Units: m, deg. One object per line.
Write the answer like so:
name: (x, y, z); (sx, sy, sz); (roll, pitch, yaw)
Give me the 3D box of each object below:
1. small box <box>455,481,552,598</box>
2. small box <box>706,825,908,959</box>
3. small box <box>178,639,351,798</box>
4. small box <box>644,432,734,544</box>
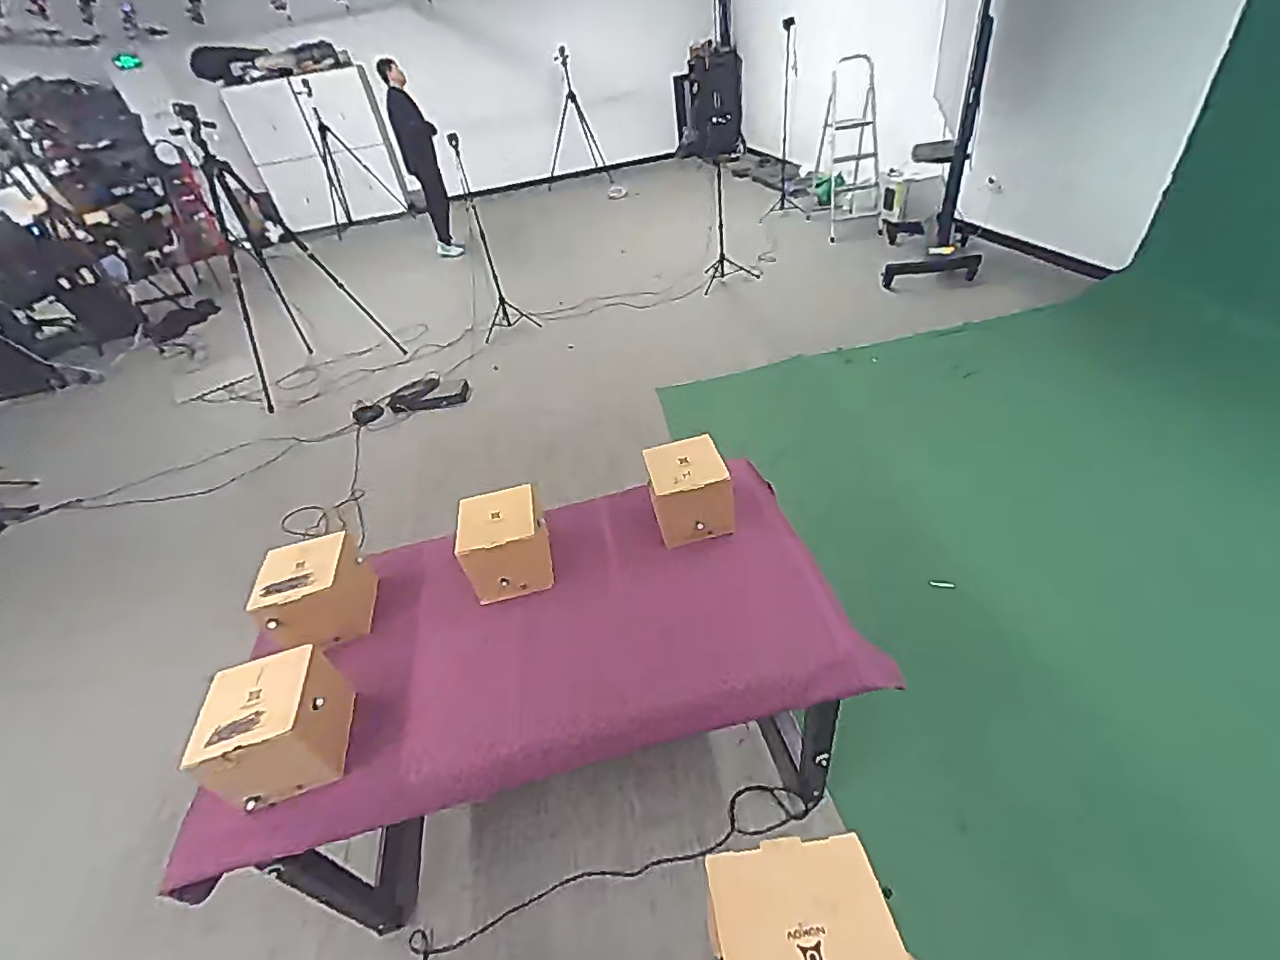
small box: (-0.299, 0.132, 1.206); (0.168, 0.176, 0.179); (-13, 41, -4)
small box: (0.161, 0.488, 0.540); (0.168, 0.176, 0.179); (-8, 33, -2)
small box: (-0.623, 0.413, 0.927); (0.168, 0.176, 0.179); (-16, 38, -8)
small box: (0.112, 0.018, 1.253); (0.168, 0.176, 0.179); (-14, 40, -2)
